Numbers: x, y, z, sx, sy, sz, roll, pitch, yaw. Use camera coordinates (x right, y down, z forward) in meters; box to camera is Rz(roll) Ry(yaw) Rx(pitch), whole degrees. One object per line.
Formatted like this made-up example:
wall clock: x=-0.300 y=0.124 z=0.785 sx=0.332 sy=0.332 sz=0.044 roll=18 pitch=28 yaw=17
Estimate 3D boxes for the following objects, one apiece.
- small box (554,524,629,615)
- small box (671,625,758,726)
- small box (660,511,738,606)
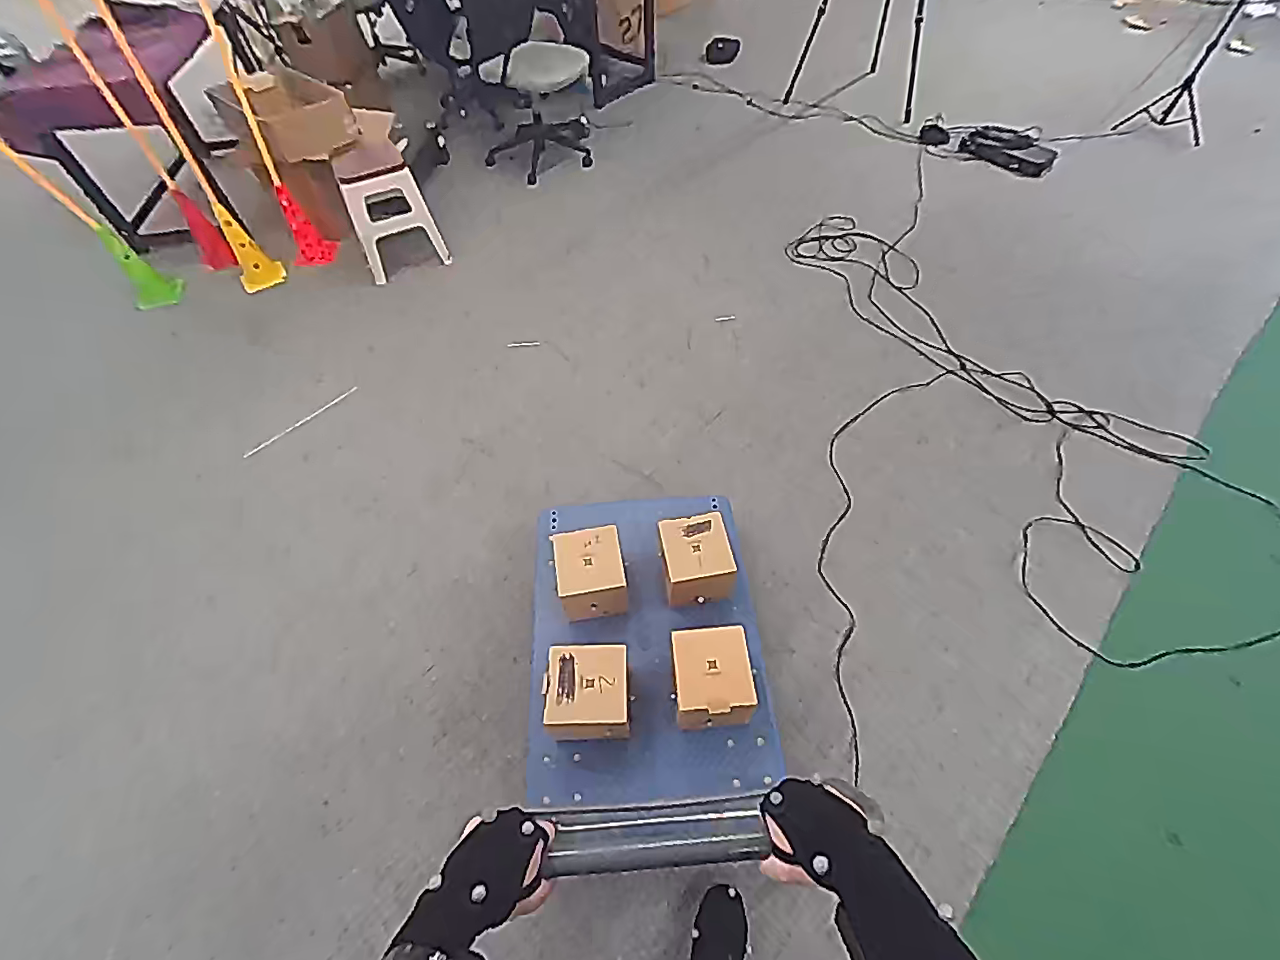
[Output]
small box: x=-0.123 y=0.238 z=1.398 sx=0.168 sy=0.176 sz=0.179 roll=-8 pitch=55 yaw=-5
small box: x=0.163 y=0.450 z=1.240 sx=0.168 sy=0.176 sz=0.179 roll=-5 pitch=55 yaw=-1
small box: x=0.146 y=0.206 z=1.410 sx=0.168 sy=0.176 sz=0.179 roll=-9 pitch=56 yaw=-3
